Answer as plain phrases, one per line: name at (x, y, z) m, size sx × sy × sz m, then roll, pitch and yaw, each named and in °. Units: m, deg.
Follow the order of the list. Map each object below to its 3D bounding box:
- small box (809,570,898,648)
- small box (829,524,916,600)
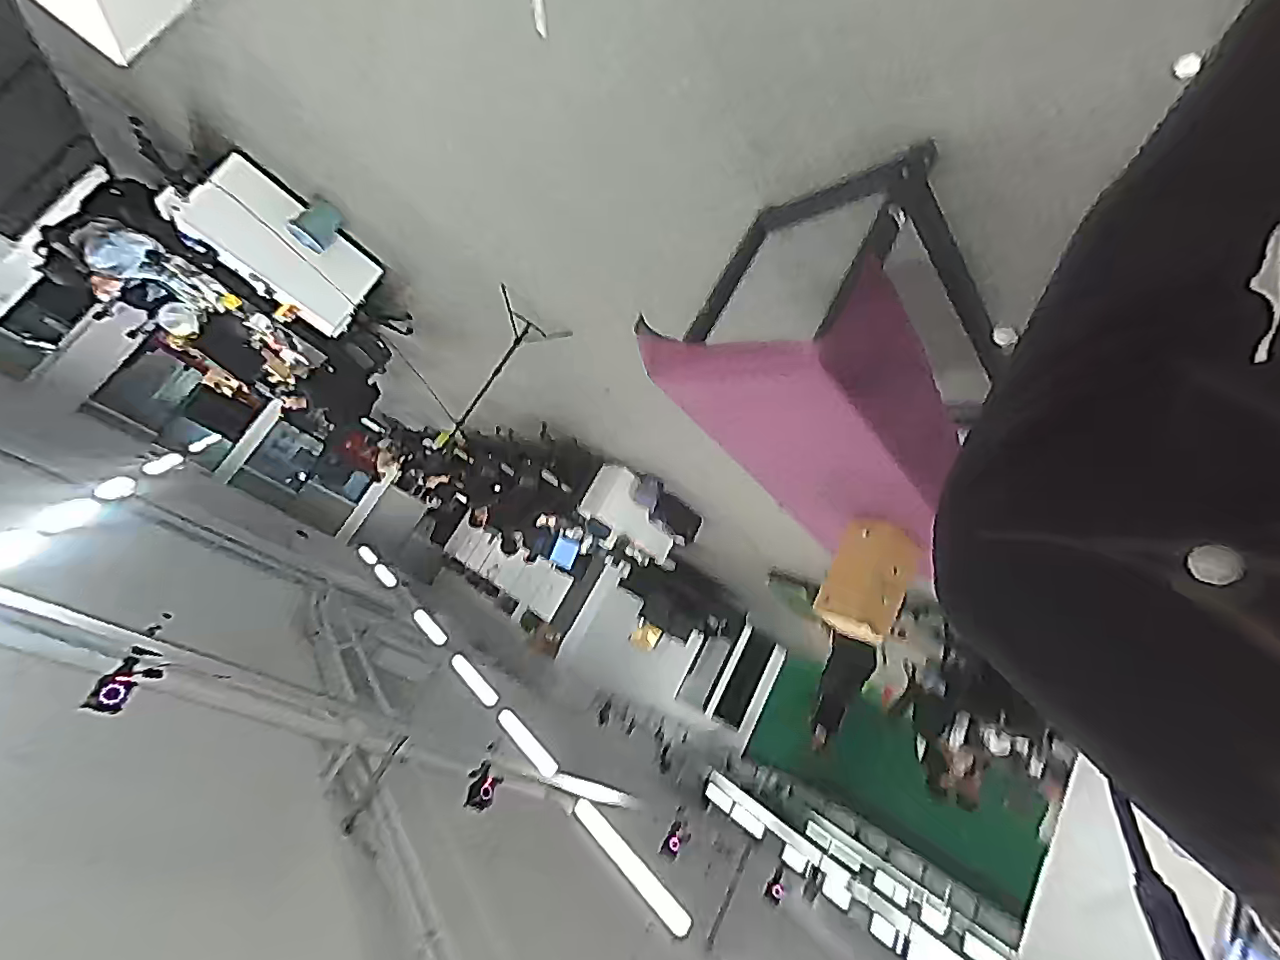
small box at (0.684, 0.404, 1.725) m, size 0.168 × 0.176 × 0.179 m, roll 36°, pitch 164°, yaw -22°
small box at (0.761, 0.262, 1.759) m, size 0.179 × 0.176 × 0.168 m, roll 37°, pitch 163°, yaw -22°
